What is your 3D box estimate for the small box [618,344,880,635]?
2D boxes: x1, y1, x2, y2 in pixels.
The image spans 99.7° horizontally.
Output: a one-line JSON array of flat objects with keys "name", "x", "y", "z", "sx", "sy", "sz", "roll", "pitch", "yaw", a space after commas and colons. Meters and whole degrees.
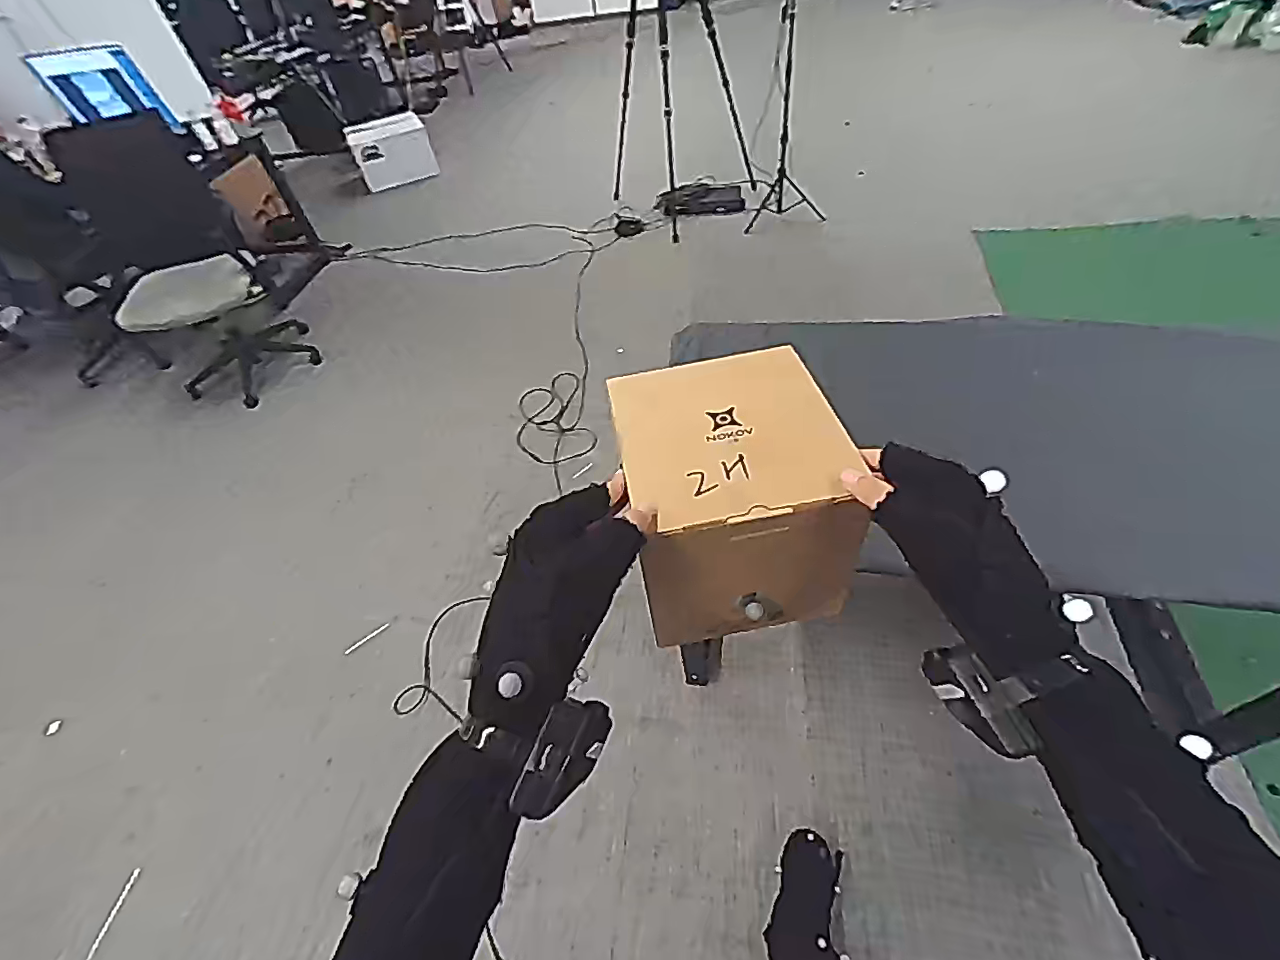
[{"name": "small box", "x": 0.079, "y": 0.009, "z": 0.475, "sx": 0.168, "sy": 0.176, "sz": 0.179, "roll": -11, "pitch": 47, "yaw": -1}]
